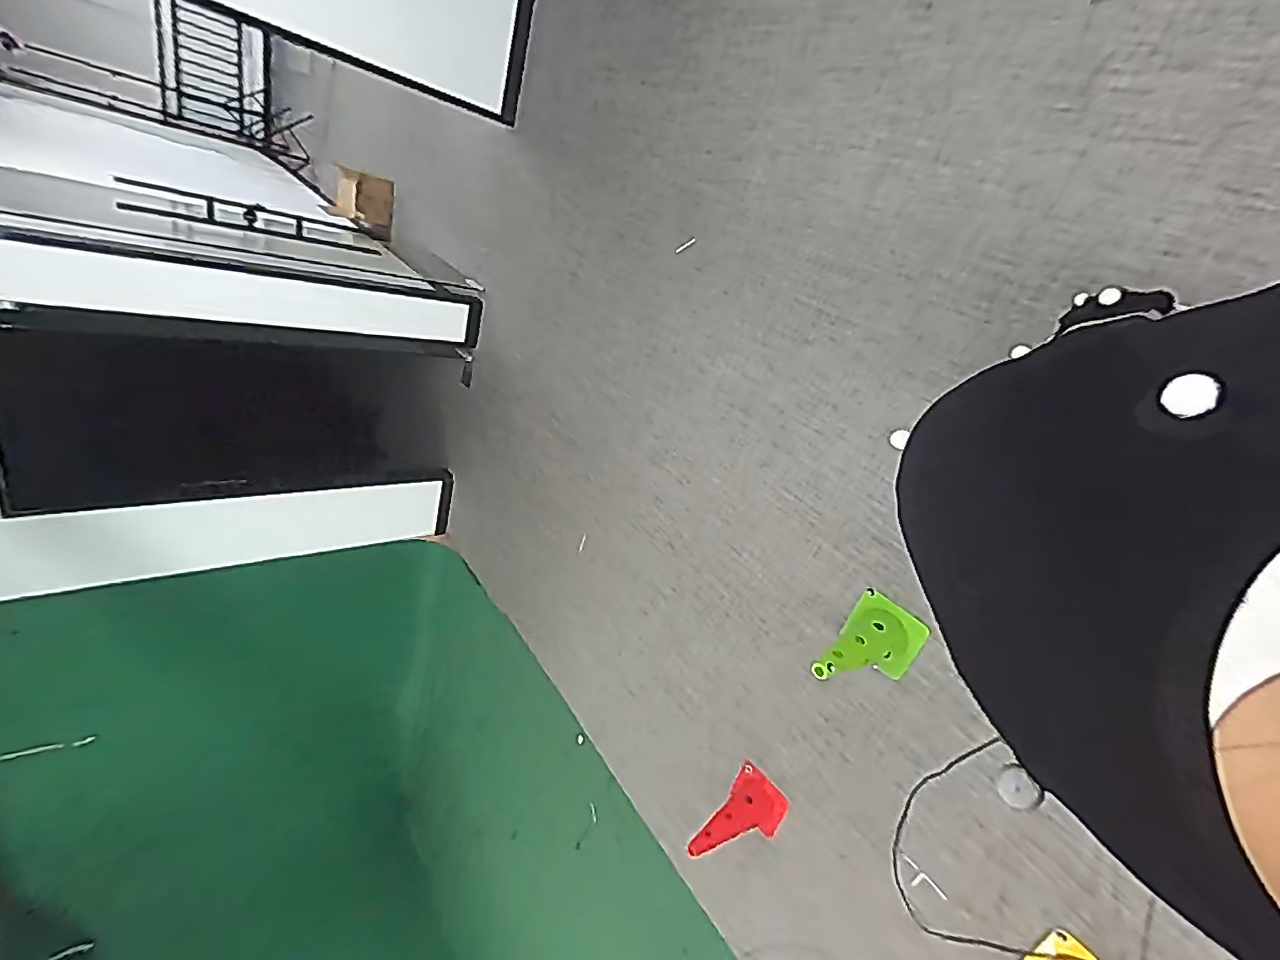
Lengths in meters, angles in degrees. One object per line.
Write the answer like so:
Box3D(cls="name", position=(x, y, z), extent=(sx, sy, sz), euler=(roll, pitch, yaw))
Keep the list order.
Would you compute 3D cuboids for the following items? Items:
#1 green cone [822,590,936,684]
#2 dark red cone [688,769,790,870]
Box3D(cls="green cone", position=(0.587, 0.460, 1.434), extent=(0.202, 0.368, 0.200), euler=(38, 122, 38))
Box3D(cls="dark red cone", position=(0.306, 1.168, 1.804), extent=(0.202, 0.394, 0.201), euler=(35, 121, 41))
